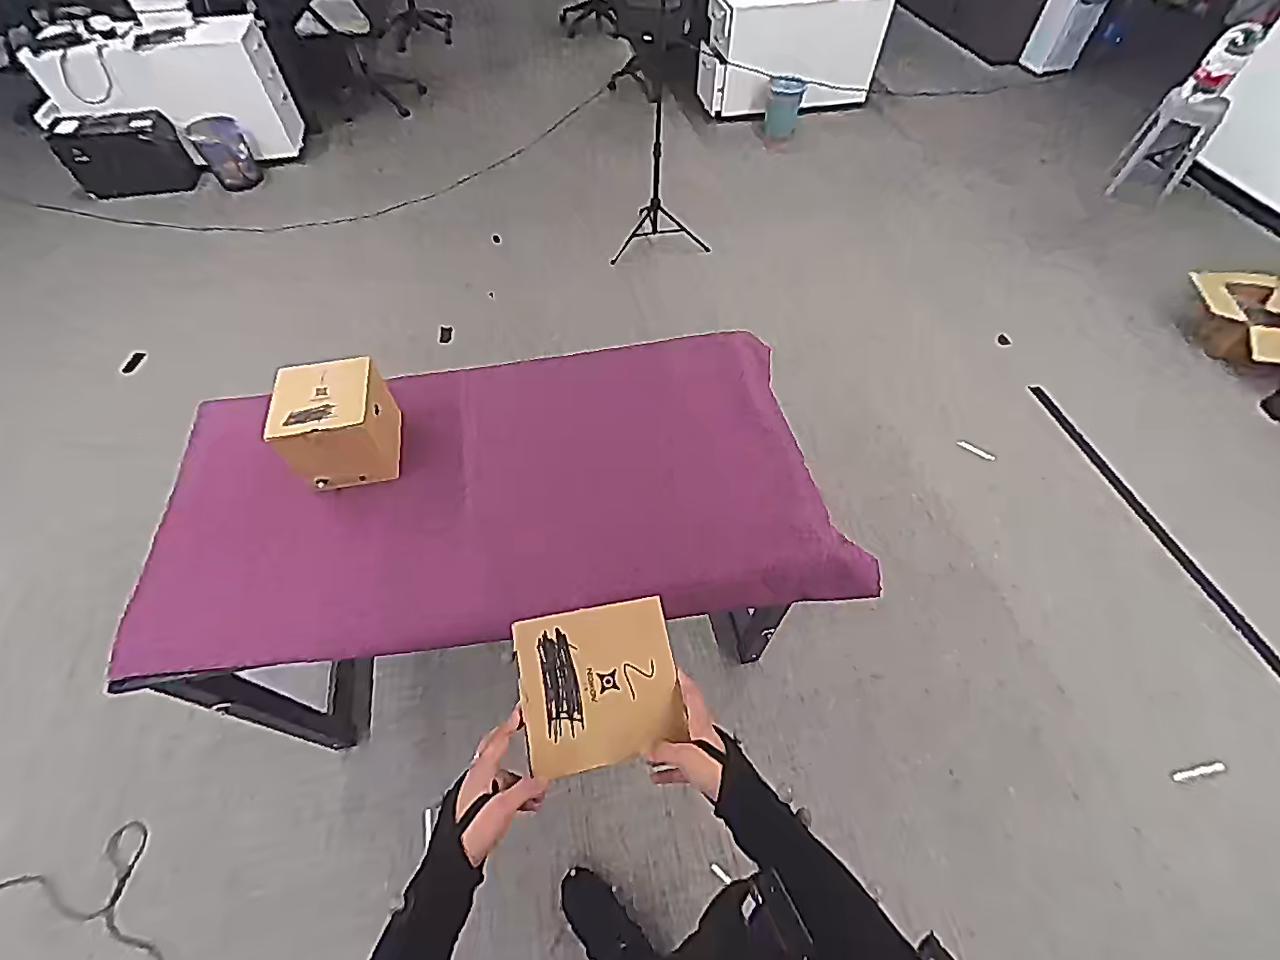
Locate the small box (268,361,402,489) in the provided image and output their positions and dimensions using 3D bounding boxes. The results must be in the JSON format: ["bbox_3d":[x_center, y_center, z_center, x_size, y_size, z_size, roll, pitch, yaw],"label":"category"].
[{"bbox_3d":[-0.570,-0.097,1.036,0.168,0.176,0.179,-10,56,-7],"label":"small box"}]
